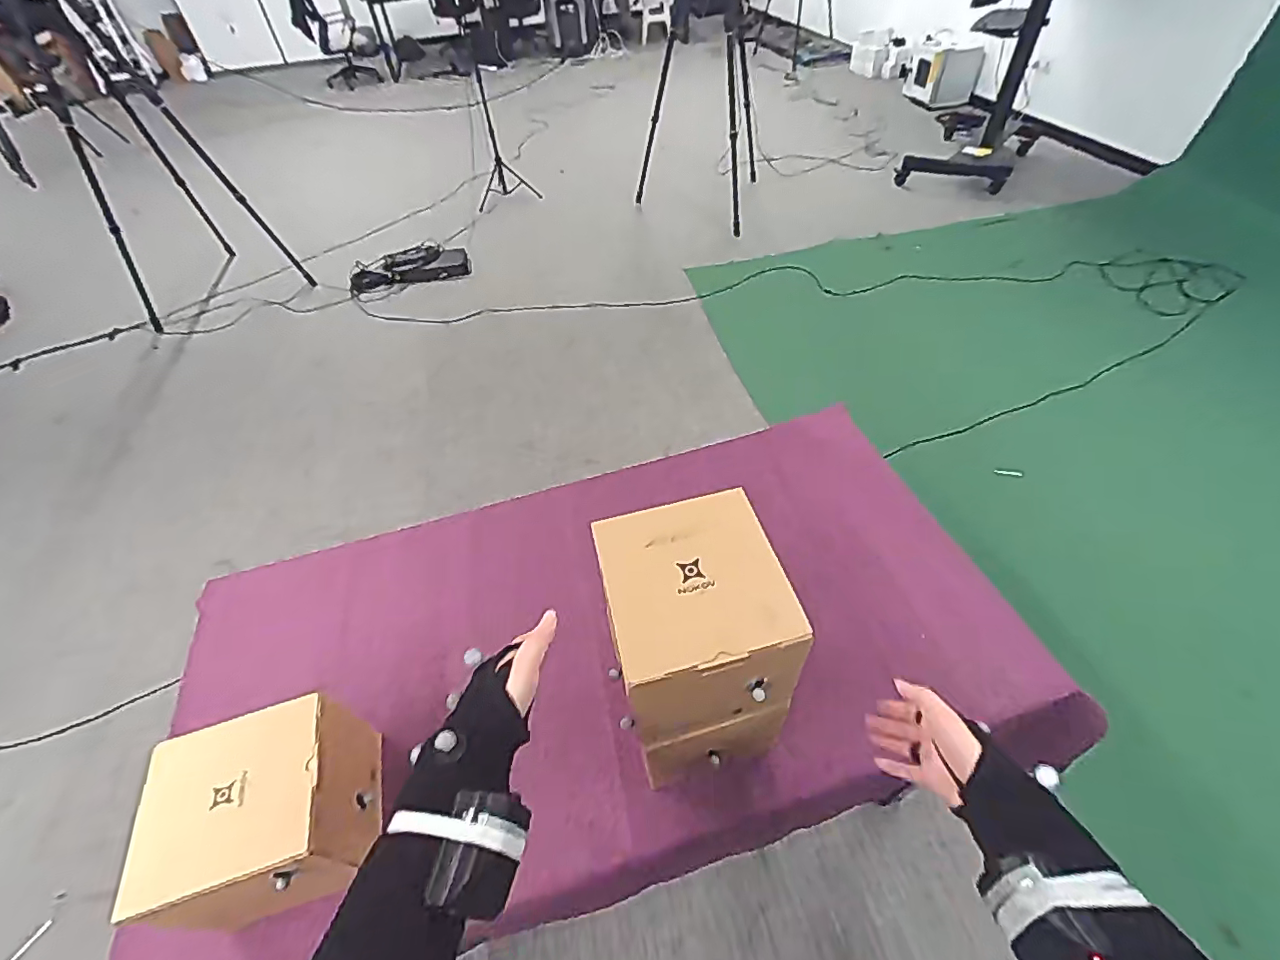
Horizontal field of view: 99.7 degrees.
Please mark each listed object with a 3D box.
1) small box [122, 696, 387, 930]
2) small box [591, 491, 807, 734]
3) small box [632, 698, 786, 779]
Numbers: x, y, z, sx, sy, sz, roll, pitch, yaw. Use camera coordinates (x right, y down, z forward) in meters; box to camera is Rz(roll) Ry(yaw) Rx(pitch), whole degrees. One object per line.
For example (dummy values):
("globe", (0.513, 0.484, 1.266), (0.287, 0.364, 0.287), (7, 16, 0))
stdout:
("small box", (-0.416, 0.385, 0.622), (0.179, 0.176, 0.168), (-16, 48, -10))
("small box", (0.054, 0.144, 0.565), (0.168, 0.176, 0.179), (-13, 48, -6))
("small box", (0.067, 0.256, 0.684), (0.168, 0.176, 0.179), (-14, 48, -7))
